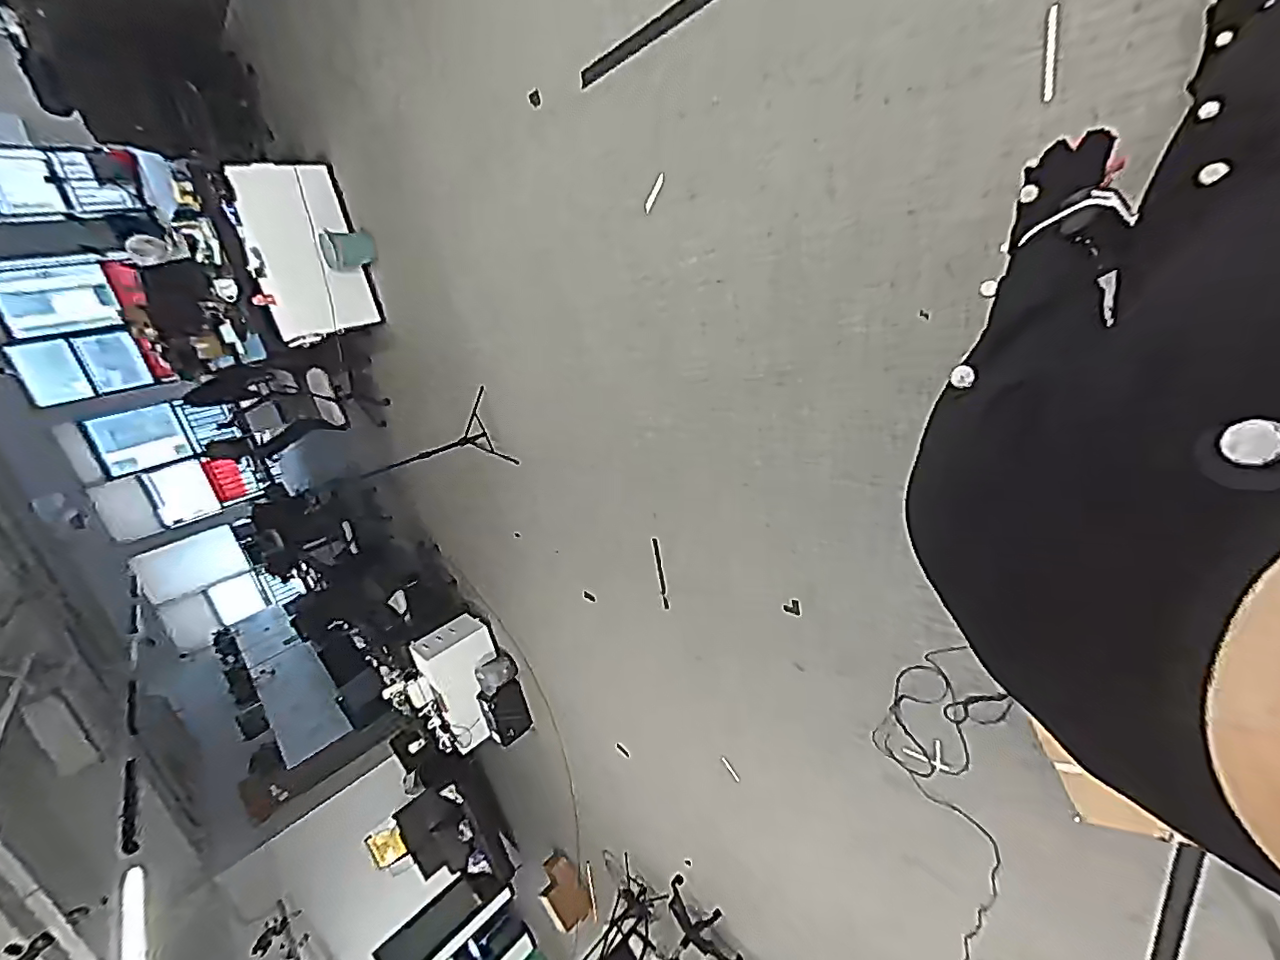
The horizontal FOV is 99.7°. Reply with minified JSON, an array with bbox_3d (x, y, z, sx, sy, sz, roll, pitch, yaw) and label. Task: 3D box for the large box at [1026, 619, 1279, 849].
[{"bbox_3d":[1.167,0.525,1.178,0.408,0.320,0.320,-26,91,54],"label":"large box"}]
